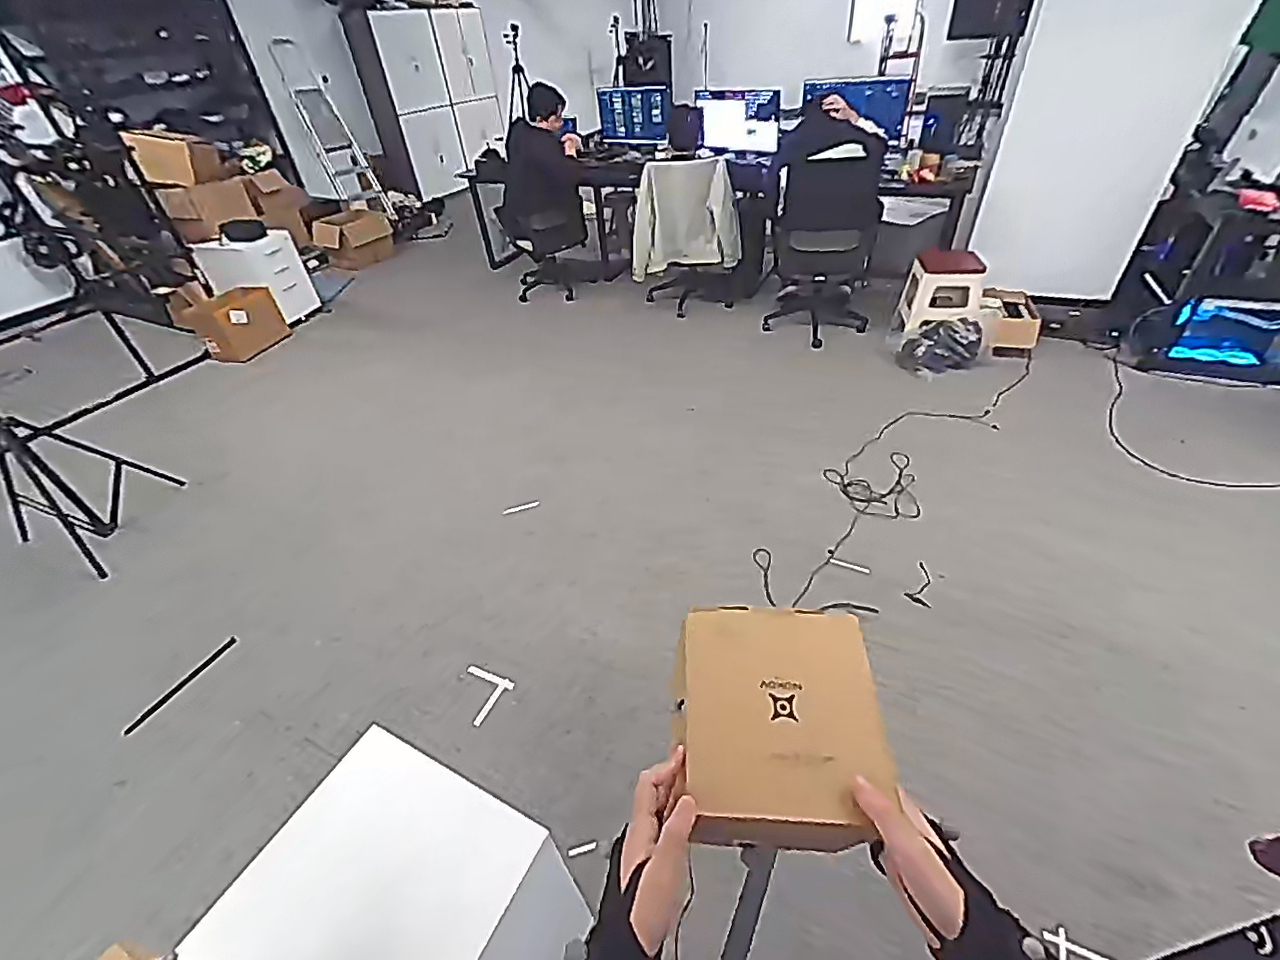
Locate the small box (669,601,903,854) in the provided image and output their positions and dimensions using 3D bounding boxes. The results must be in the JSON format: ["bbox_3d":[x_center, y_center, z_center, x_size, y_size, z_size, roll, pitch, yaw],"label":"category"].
[{"bbox_3d":[0.116,0.237,0.516,0.168,0.176,0.179,3,50,0],"label":"small box"}]

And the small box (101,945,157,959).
[{"bbox_3d":[-0.436,0.558,0.467,0.179,0.176,0.168,14,44,23],"label":"small box"}]
